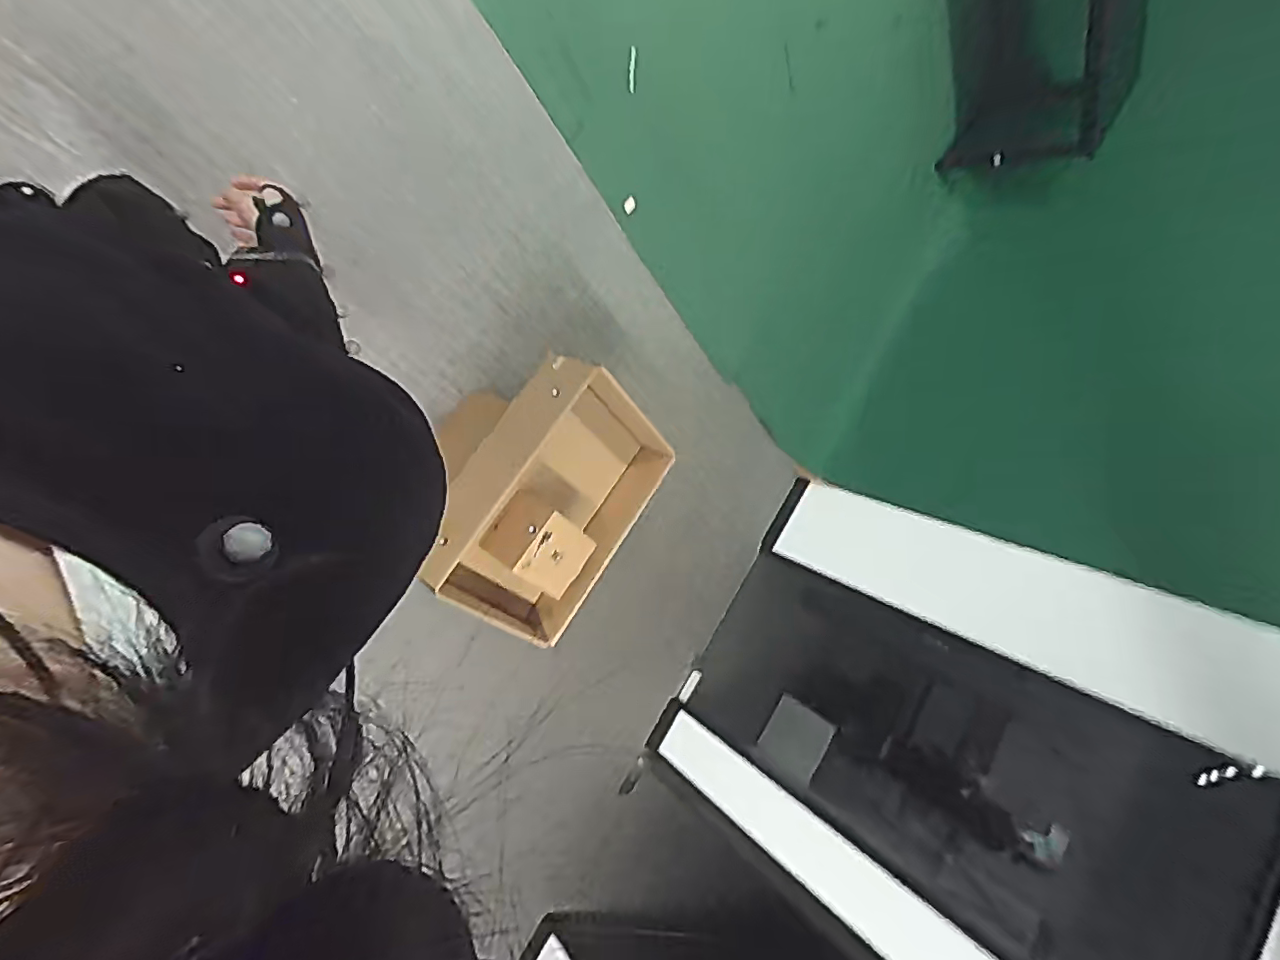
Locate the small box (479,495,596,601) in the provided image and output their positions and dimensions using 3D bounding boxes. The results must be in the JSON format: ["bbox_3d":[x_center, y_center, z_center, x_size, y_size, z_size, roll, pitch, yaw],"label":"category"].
[{"bbox_3d":[-0.247,0.158,1.302,0.168,0.176,0.179,-56,136,-14],"label":"small box"}]
